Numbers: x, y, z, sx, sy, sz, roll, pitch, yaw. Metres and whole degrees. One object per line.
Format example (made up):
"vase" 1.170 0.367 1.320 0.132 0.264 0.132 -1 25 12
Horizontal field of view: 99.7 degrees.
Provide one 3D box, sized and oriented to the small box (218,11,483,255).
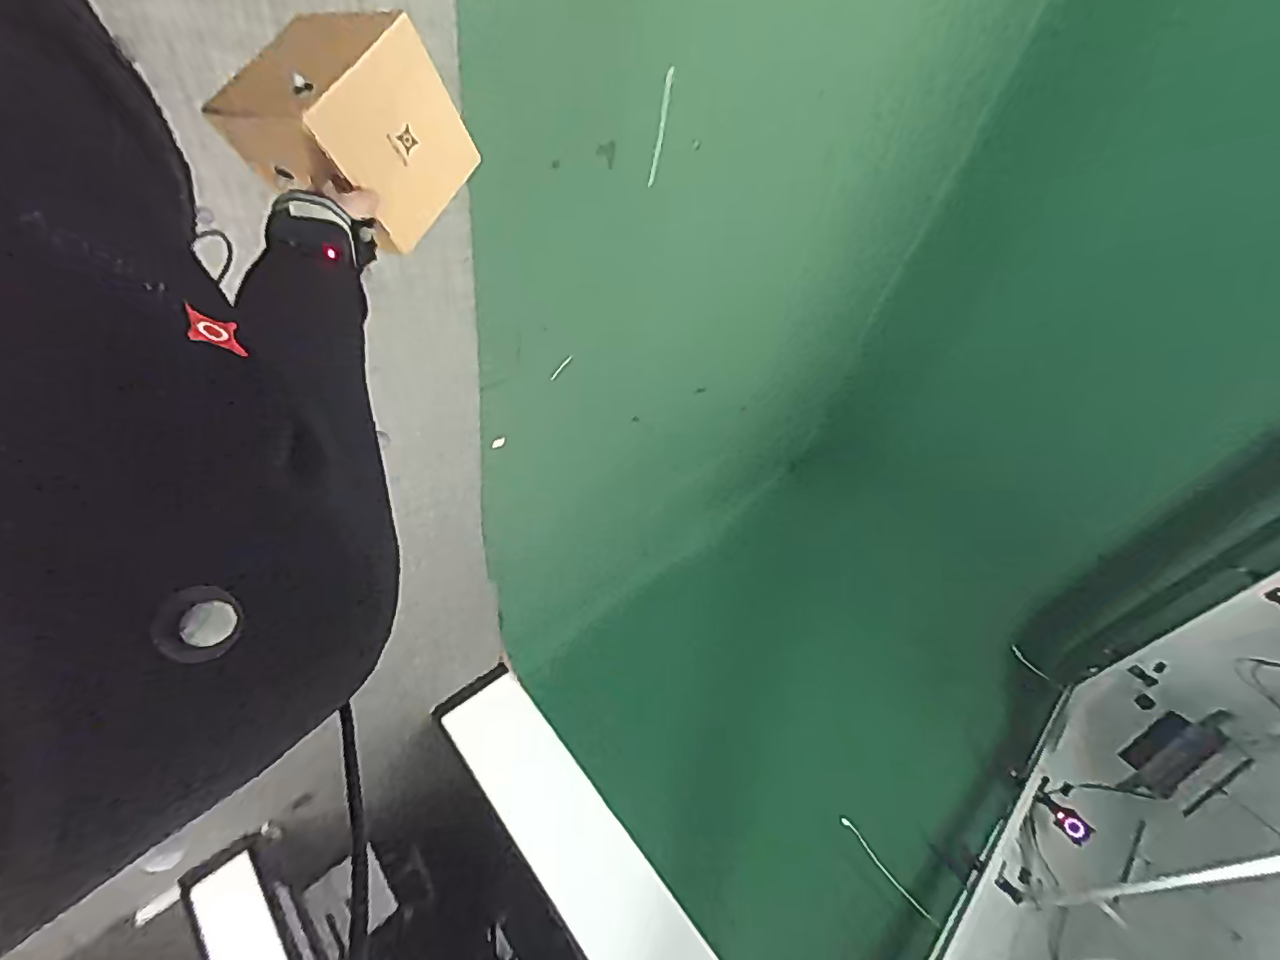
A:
"small box" -0.323 -0.395 0.620 0.179 0.176 0.168 -63 157 -16
